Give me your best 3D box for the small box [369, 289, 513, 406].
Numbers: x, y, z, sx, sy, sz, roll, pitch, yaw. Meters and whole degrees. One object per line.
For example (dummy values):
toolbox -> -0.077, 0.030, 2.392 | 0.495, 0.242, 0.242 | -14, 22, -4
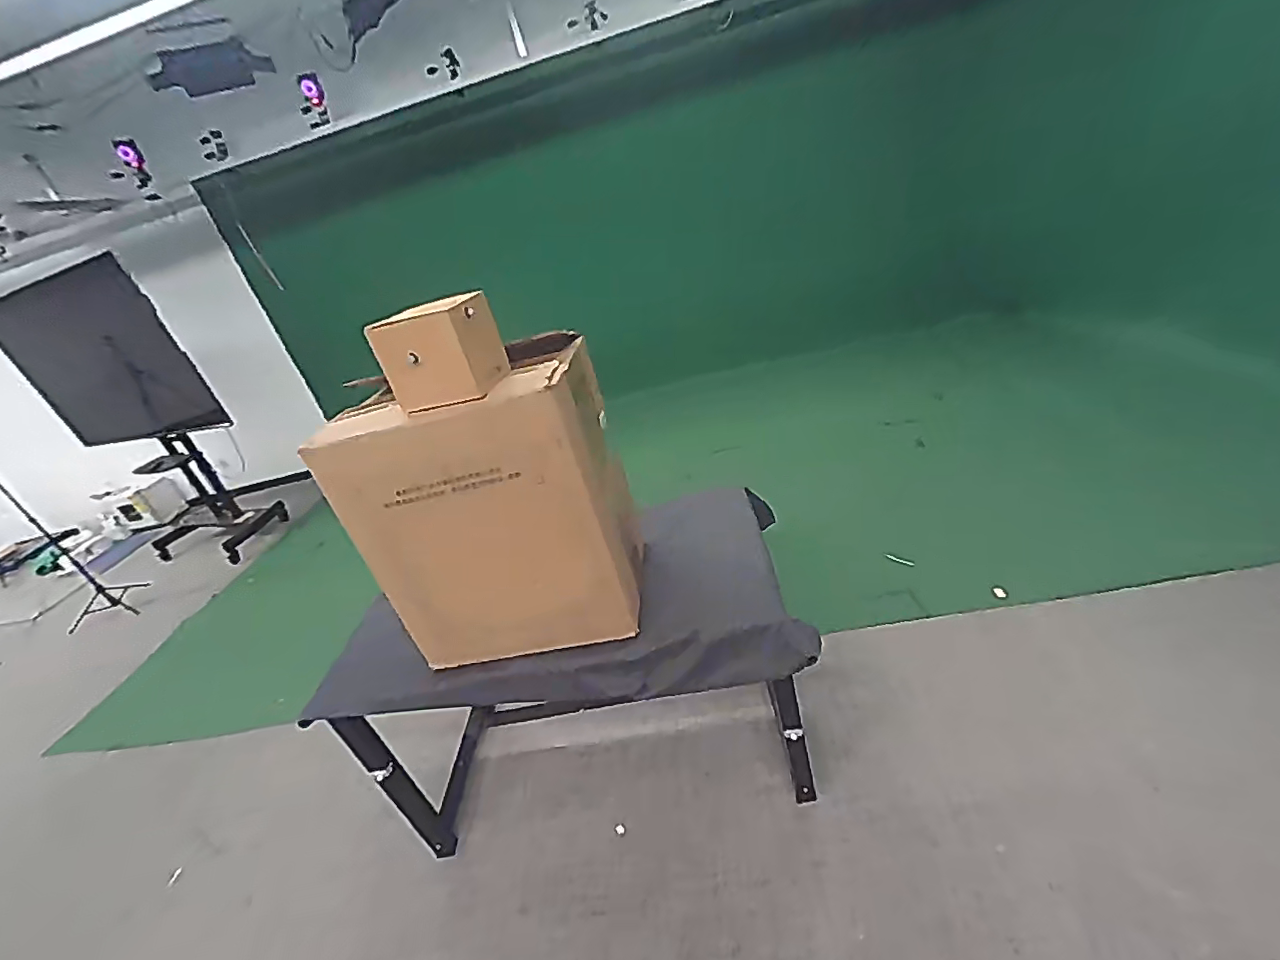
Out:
small box -> -0.380, -0.257, 1.064 | 0.179, 0.176, 0.168 | -9, 29, 14
